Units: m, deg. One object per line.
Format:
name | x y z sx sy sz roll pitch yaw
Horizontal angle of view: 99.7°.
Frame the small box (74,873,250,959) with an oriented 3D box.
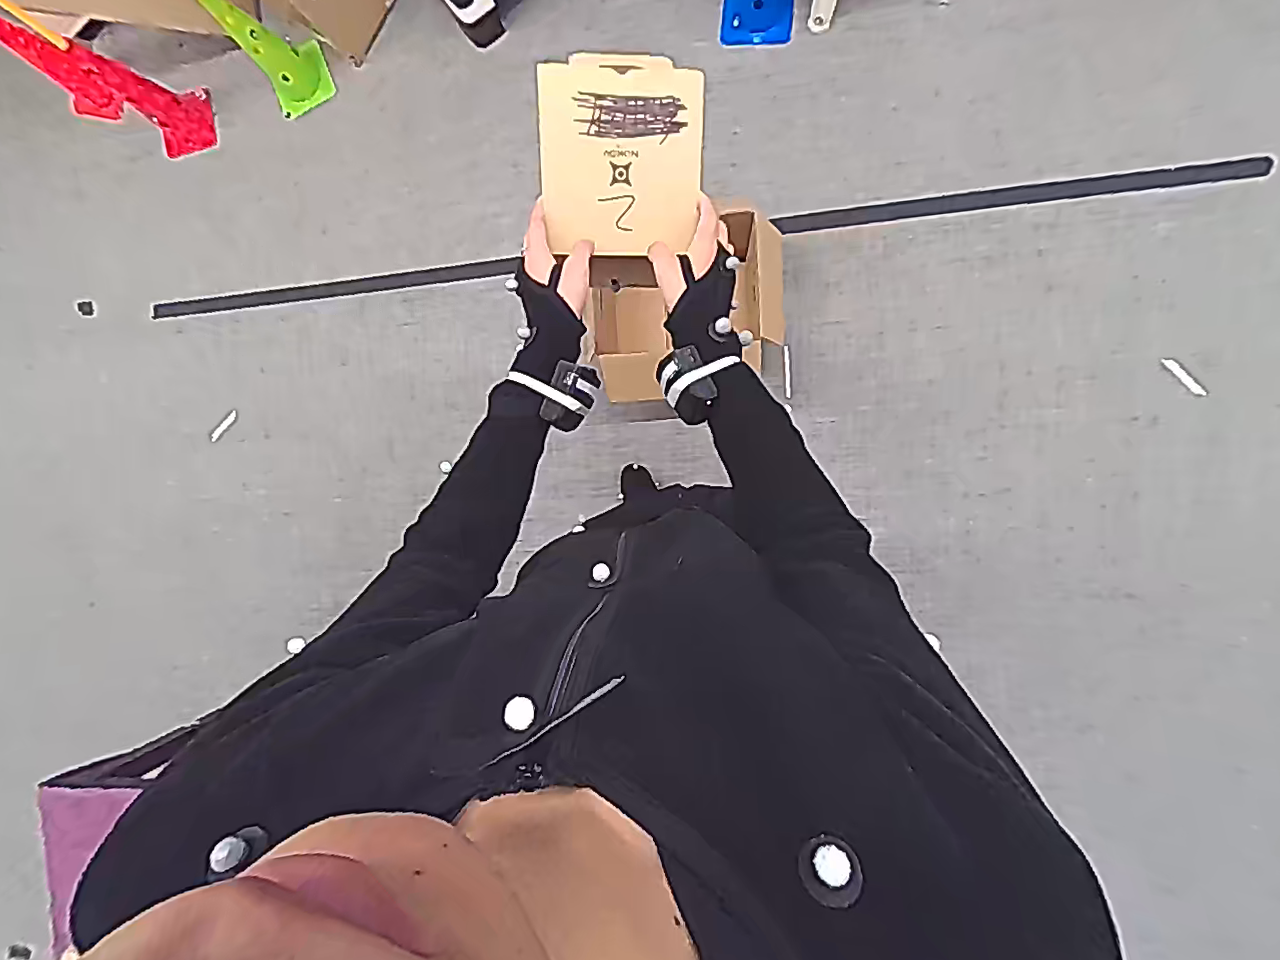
small box | -0.856 0.859 0.988 0.179 0.176 0.168 -10 91 10
